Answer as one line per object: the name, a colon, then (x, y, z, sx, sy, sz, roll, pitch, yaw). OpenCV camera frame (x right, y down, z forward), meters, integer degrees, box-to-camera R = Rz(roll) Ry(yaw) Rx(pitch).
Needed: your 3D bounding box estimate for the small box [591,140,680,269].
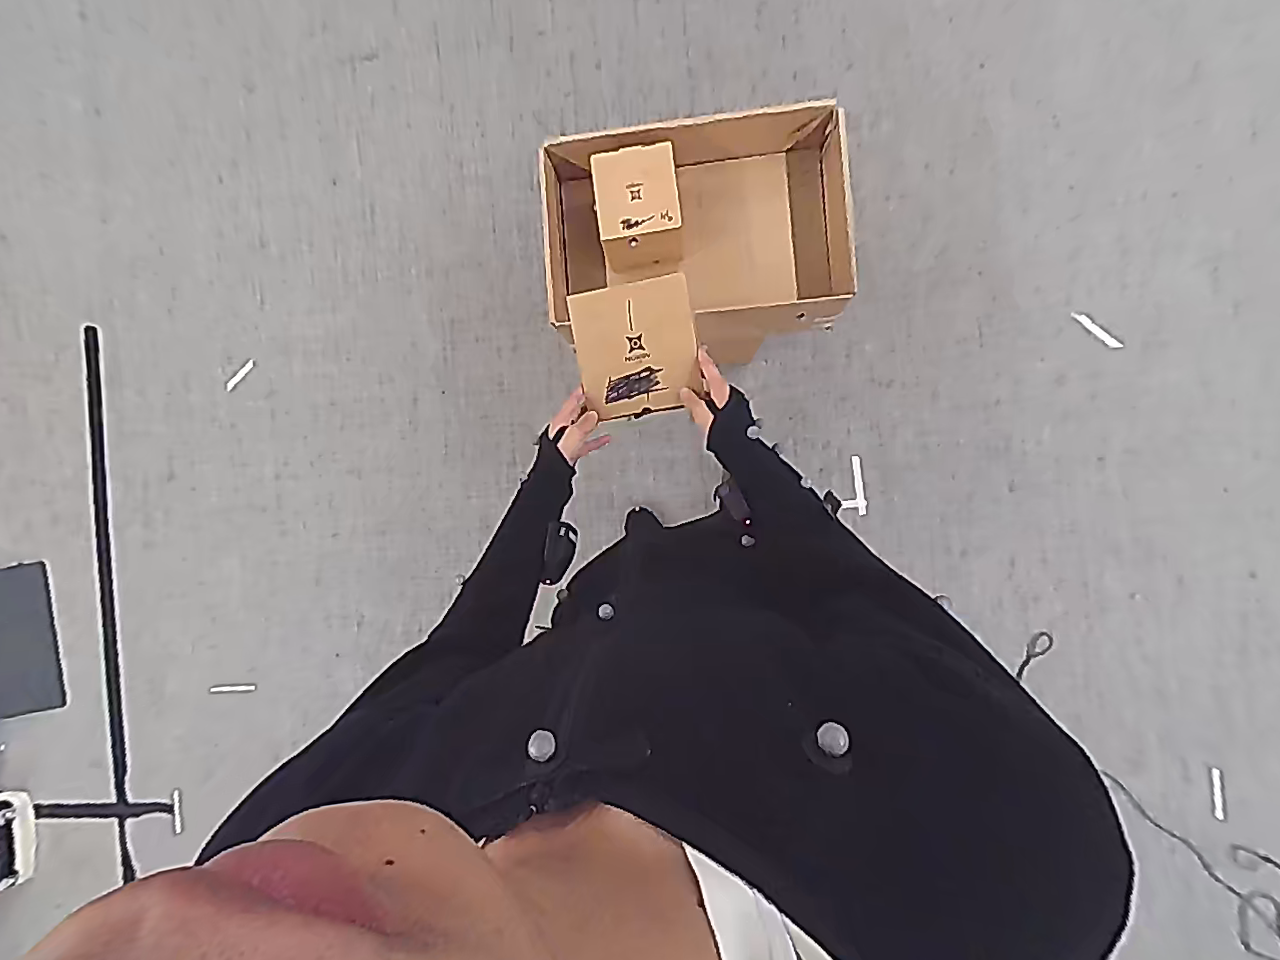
small box: (-0.005, -0.576, 1.150, 0.168, 0.176, 0.179, -7, 89, 5)

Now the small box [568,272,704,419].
small box: (0.005, -0.197, 0.814, 0.168, 0.176, 0.179, -8, 100, 8)
